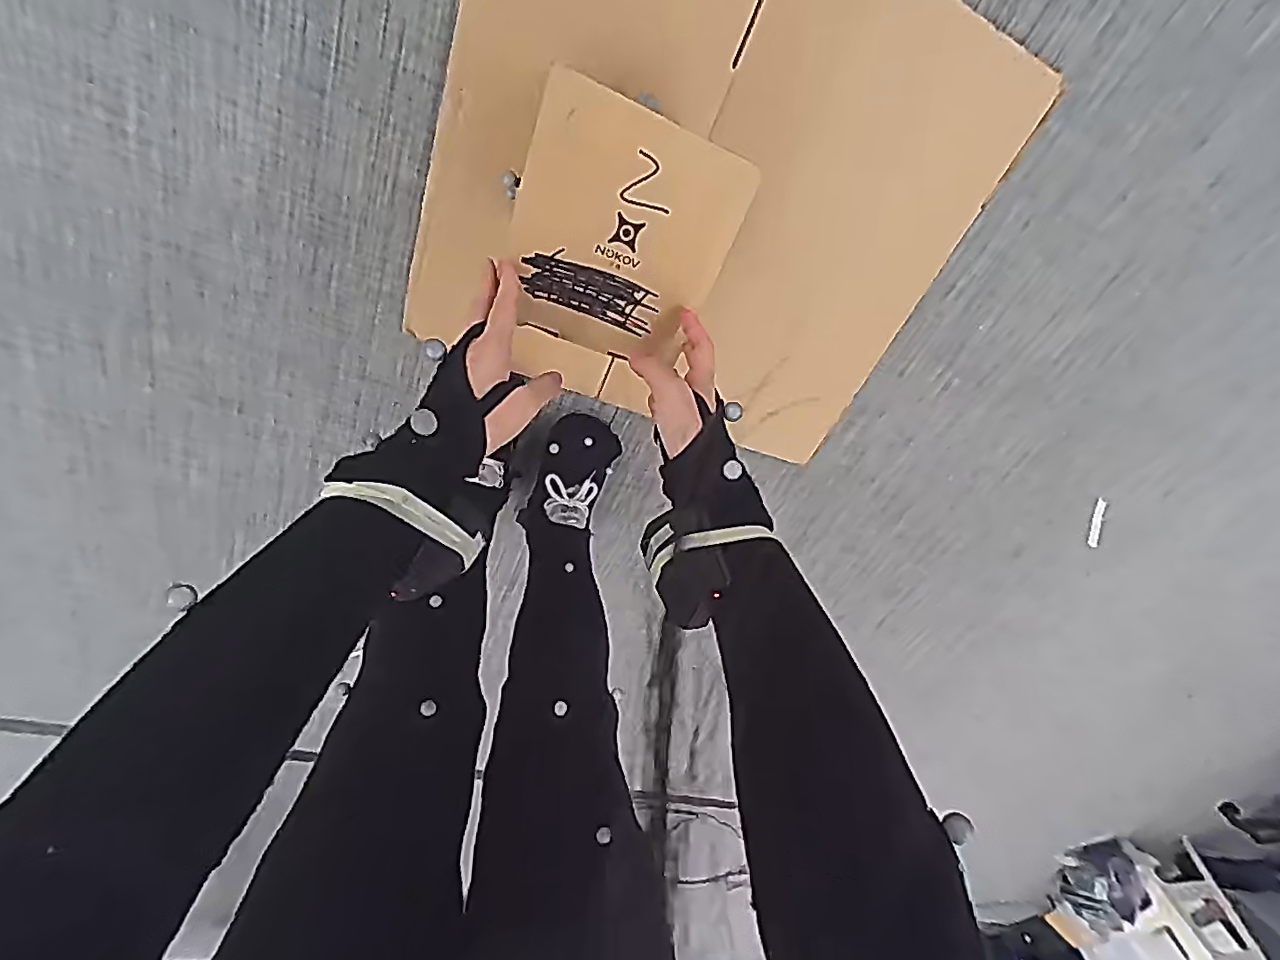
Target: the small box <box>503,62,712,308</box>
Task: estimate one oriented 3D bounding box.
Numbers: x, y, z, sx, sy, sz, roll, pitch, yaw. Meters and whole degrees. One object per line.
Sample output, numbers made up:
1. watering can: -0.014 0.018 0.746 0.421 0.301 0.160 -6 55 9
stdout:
1. small box: -0.045 -0.329 0.611 0.168 0.176 0.179 17 120 -21
